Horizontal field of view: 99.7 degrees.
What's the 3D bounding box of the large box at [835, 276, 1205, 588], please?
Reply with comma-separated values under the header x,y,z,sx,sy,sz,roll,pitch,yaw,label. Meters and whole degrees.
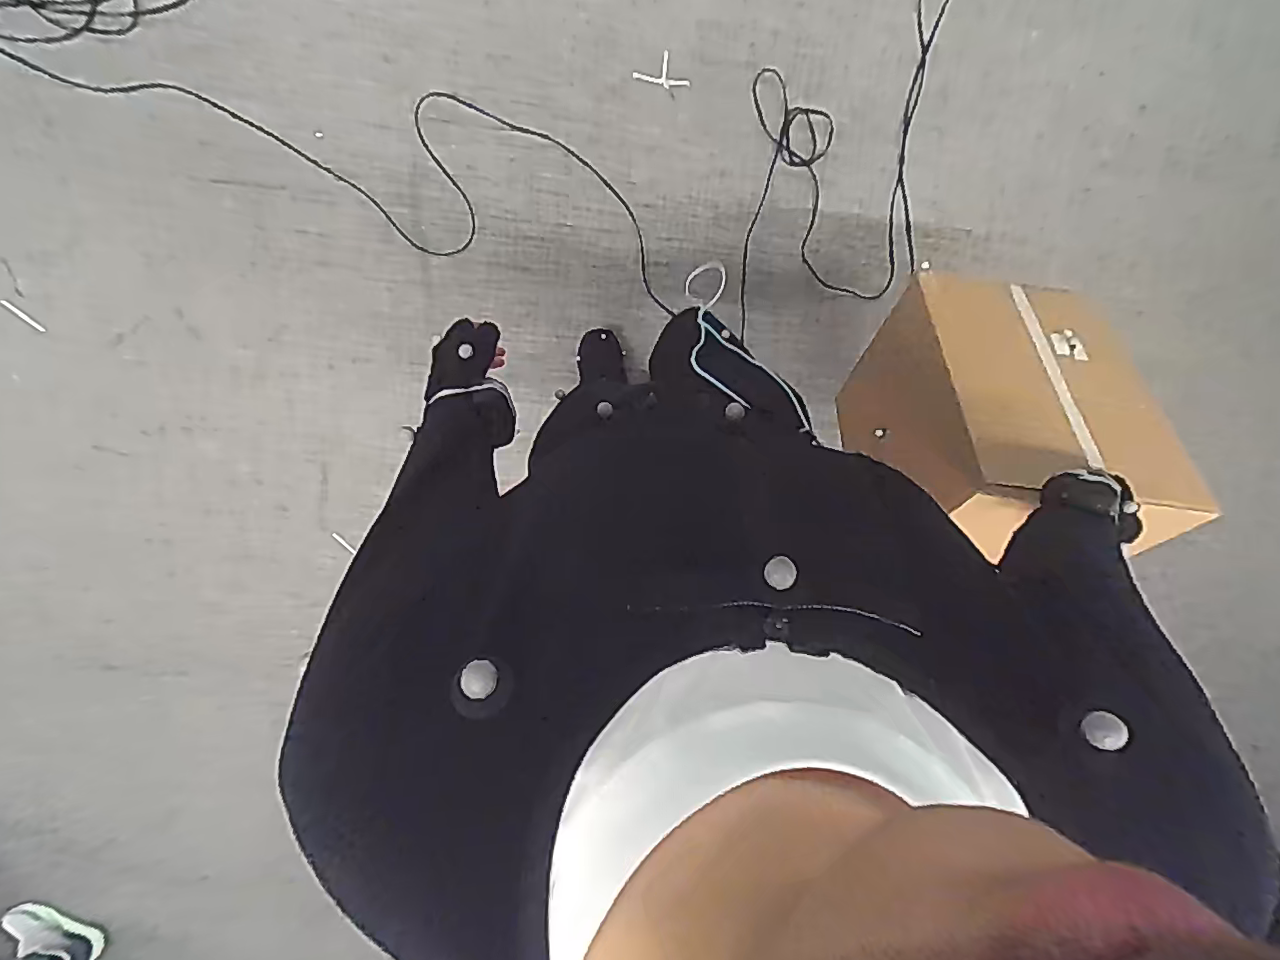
x,y,z,sx,sy,sz,roll,pitch,yaw,label
0.556,-0.068,0.901,0.320,0.408,0.320,7,147,-5,large box
